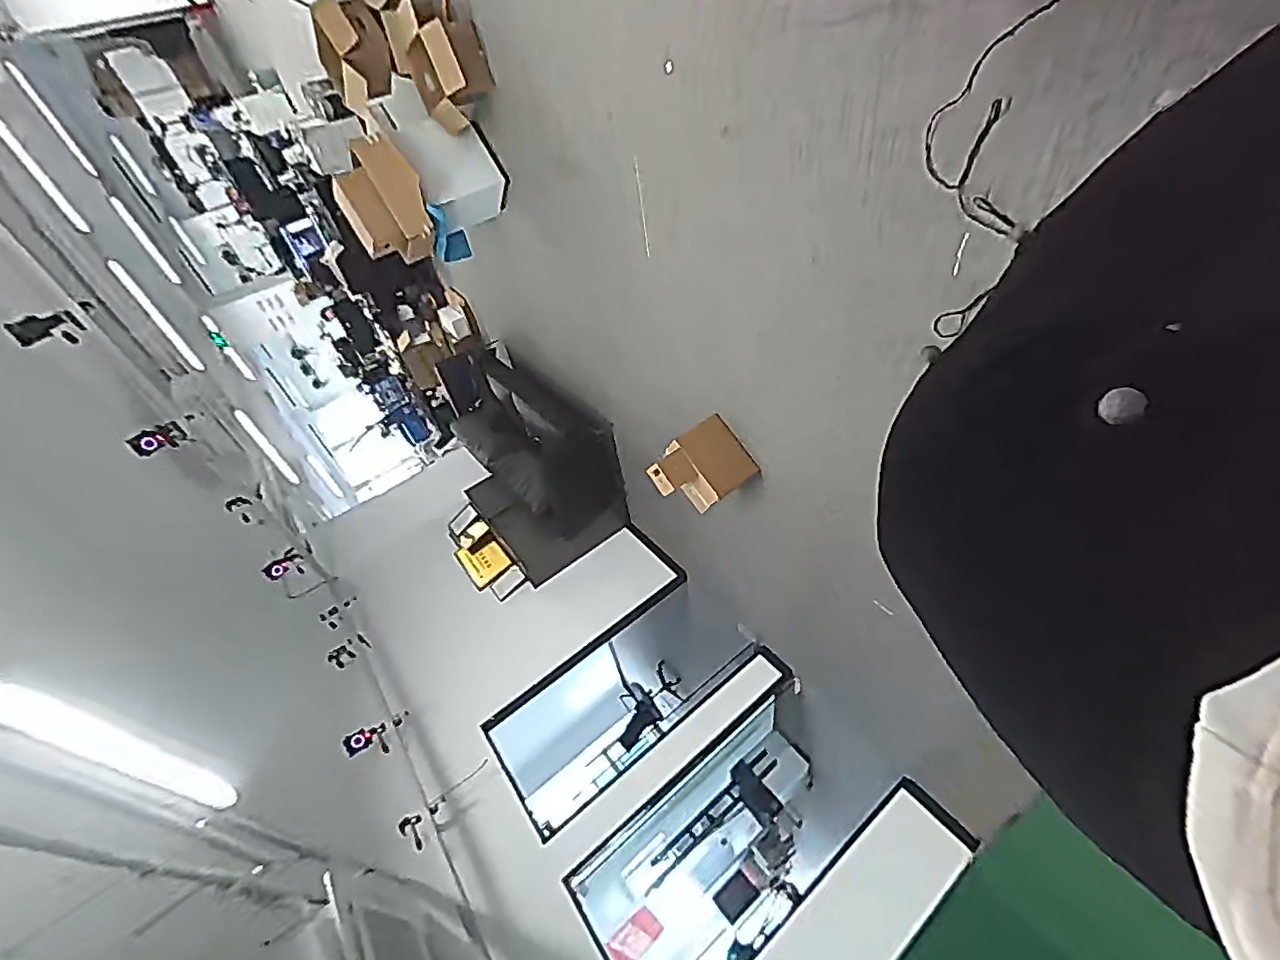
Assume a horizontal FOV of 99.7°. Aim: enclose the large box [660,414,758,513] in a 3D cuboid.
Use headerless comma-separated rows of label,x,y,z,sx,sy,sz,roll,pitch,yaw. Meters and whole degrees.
large box,0.382,-0.092,3.050,0.408,0.320,0.320,52,160,8
